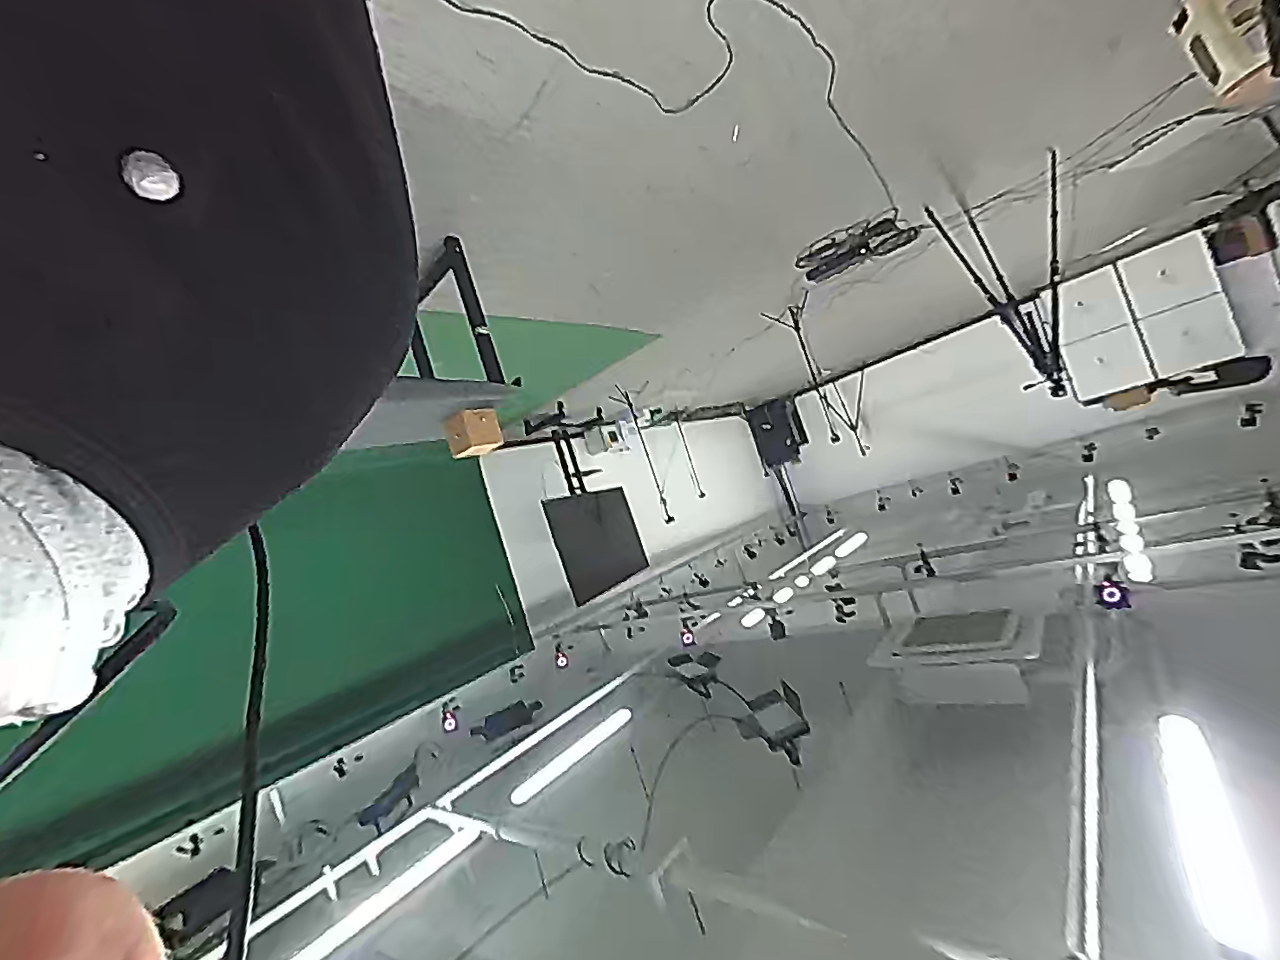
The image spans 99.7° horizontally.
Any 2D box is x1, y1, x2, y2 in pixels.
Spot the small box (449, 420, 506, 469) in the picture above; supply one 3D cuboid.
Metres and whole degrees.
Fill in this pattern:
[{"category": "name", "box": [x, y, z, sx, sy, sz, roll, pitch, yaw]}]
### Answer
[{"category": "small box", "box": [-0.727, -0.159, 2.405, 0.179, 0.176, 0.168, -22, 175, 42]}]
